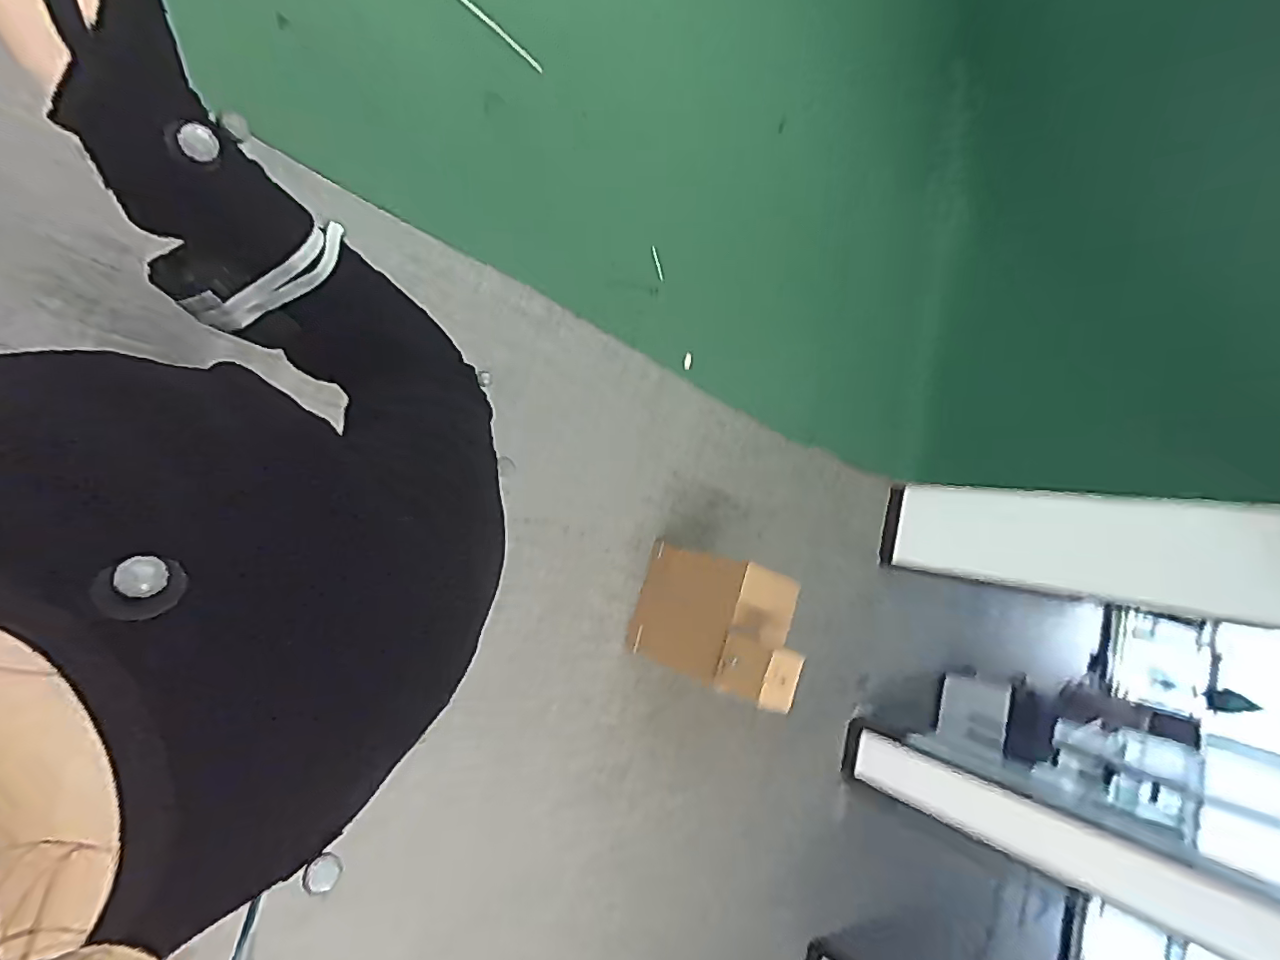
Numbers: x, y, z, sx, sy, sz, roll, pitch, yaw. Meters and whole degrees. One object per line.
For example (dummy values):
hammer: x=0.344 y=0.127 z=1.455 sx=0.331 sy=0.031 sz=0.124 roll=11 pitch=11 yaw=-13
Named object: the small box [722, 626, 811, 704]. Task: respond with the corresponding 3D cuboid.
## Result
small box: x=0.380 y=0.555 z=1.628 sx=0.179 sy=0.176 sz=0.168 roll=28 pitch=77 yaw=-38
